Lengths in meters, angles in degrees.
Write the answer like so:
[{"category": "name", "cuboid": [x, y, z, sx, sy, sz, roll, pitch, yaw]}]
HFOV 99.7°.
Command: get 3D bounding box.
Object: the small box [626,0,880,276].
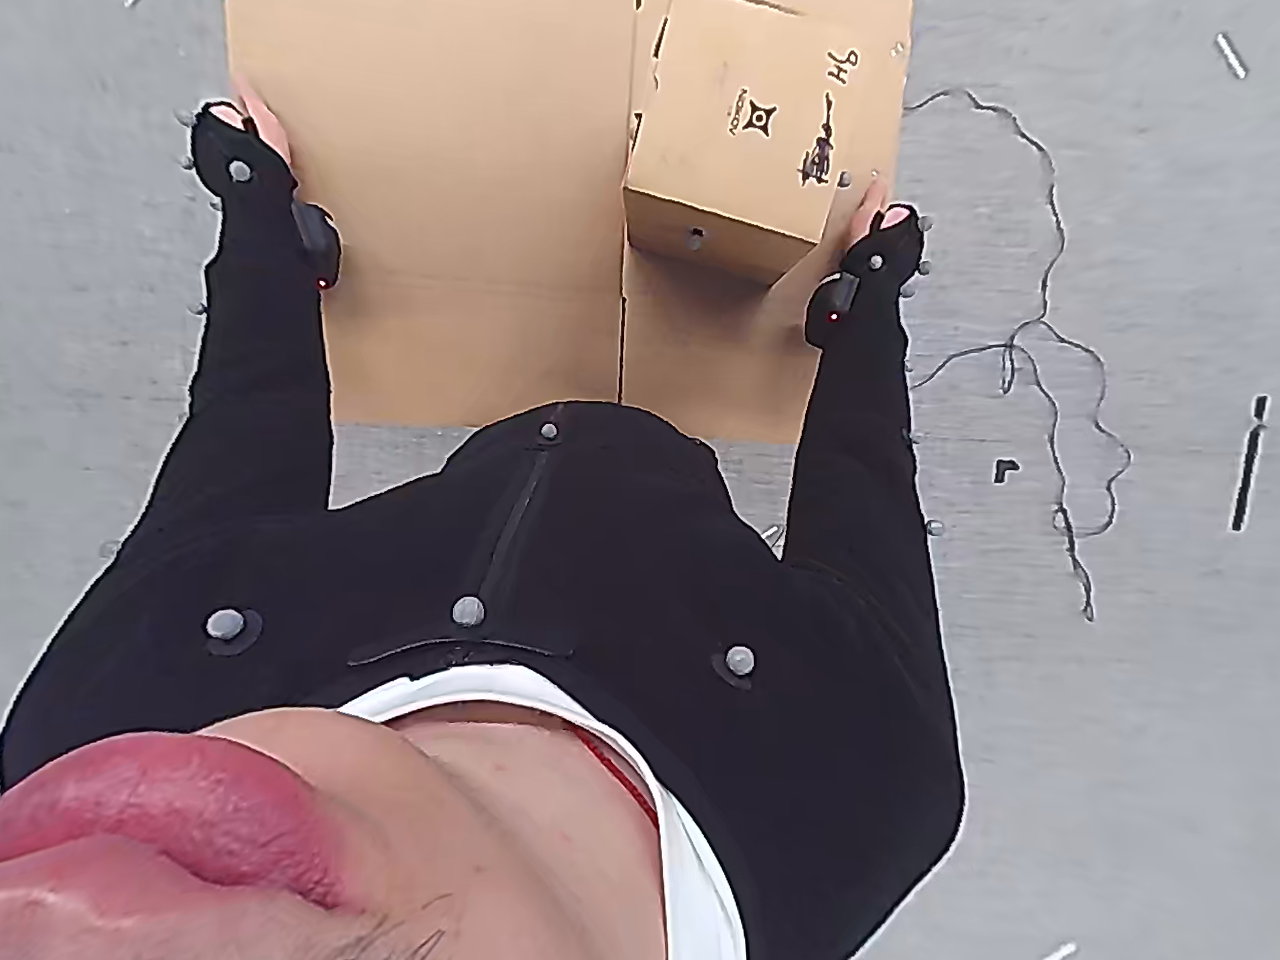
[{"category": "small box", "cuboid": [0.094, -0.317, 0.531, 0.179, 0.176, 0.168, 16, 98, -1]}]
